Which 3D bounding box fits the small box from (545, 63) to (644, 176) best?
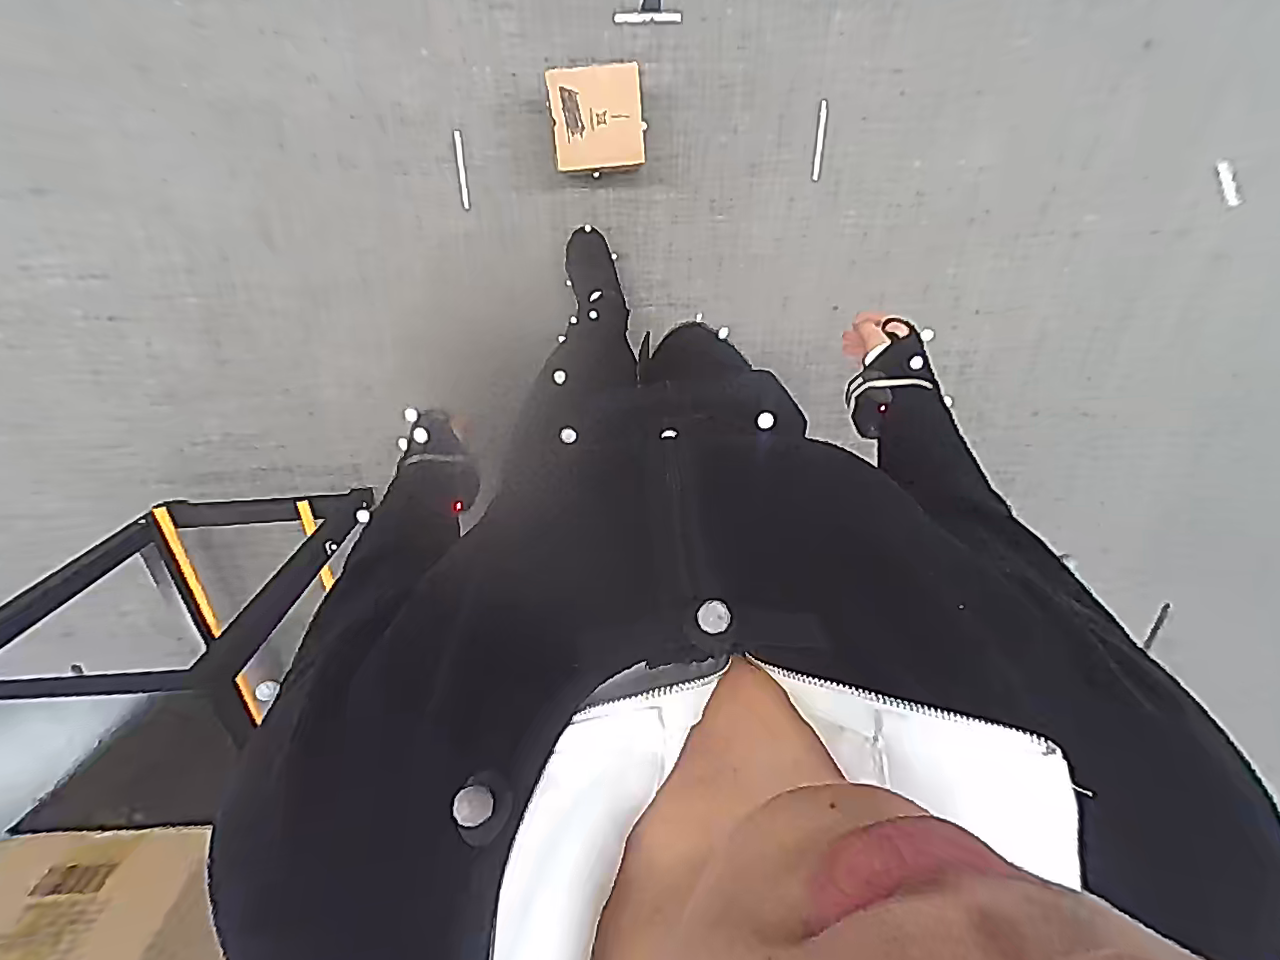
[{"bbox_3d":[-0.087,-0.721,1.097,0.179,0.176,0.168,-6,117,-1],"label":"small box"}]
